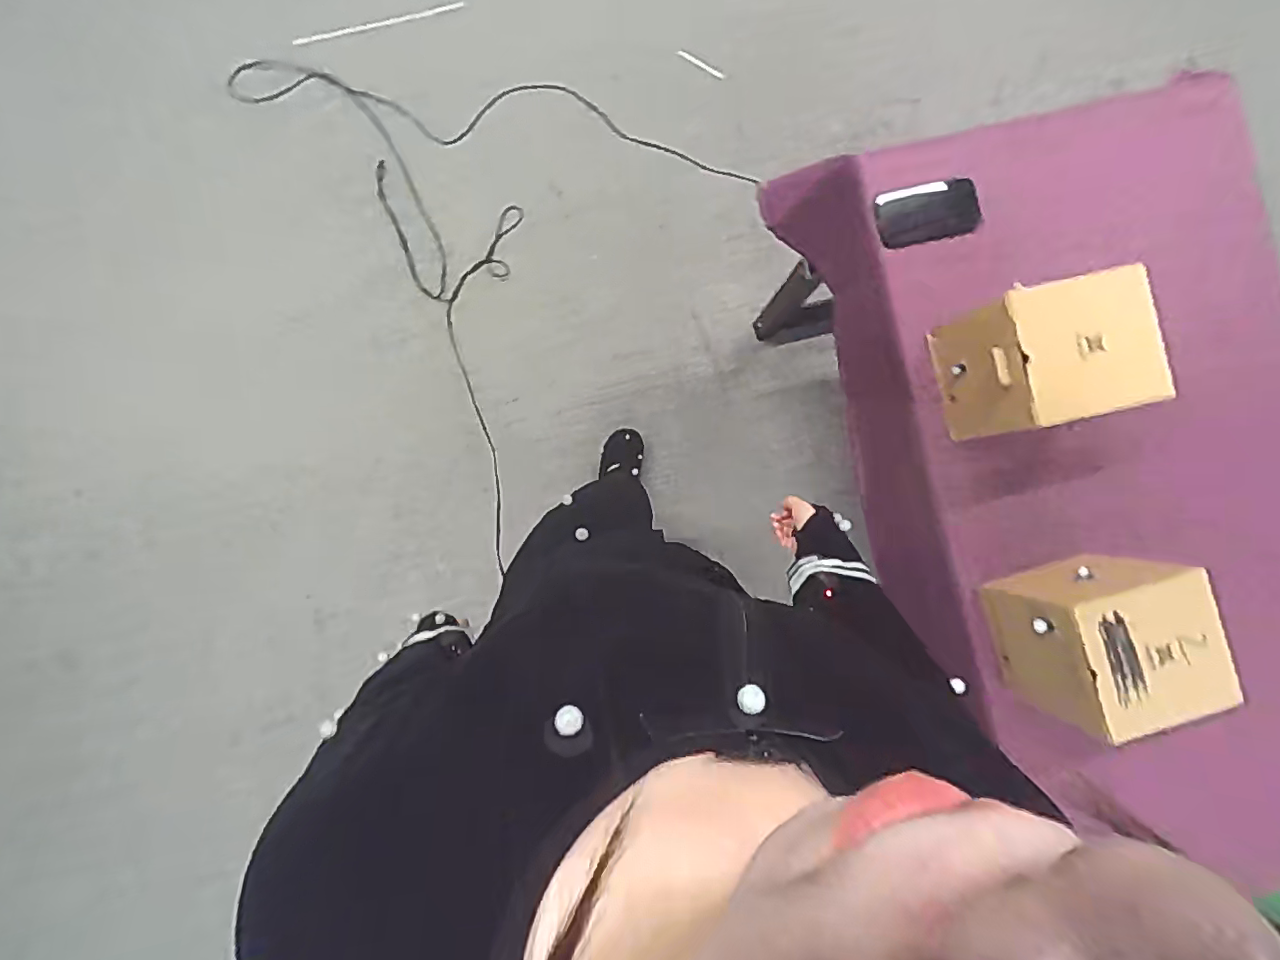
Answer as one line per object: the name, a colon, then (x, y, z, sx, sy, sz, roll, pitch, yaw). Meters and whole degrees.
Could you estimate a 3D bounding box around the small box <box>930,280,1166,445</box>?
small box: (0.532, -0.146, 0.728, 0.179, 0.176, 0.168, -12, 89, -2)
